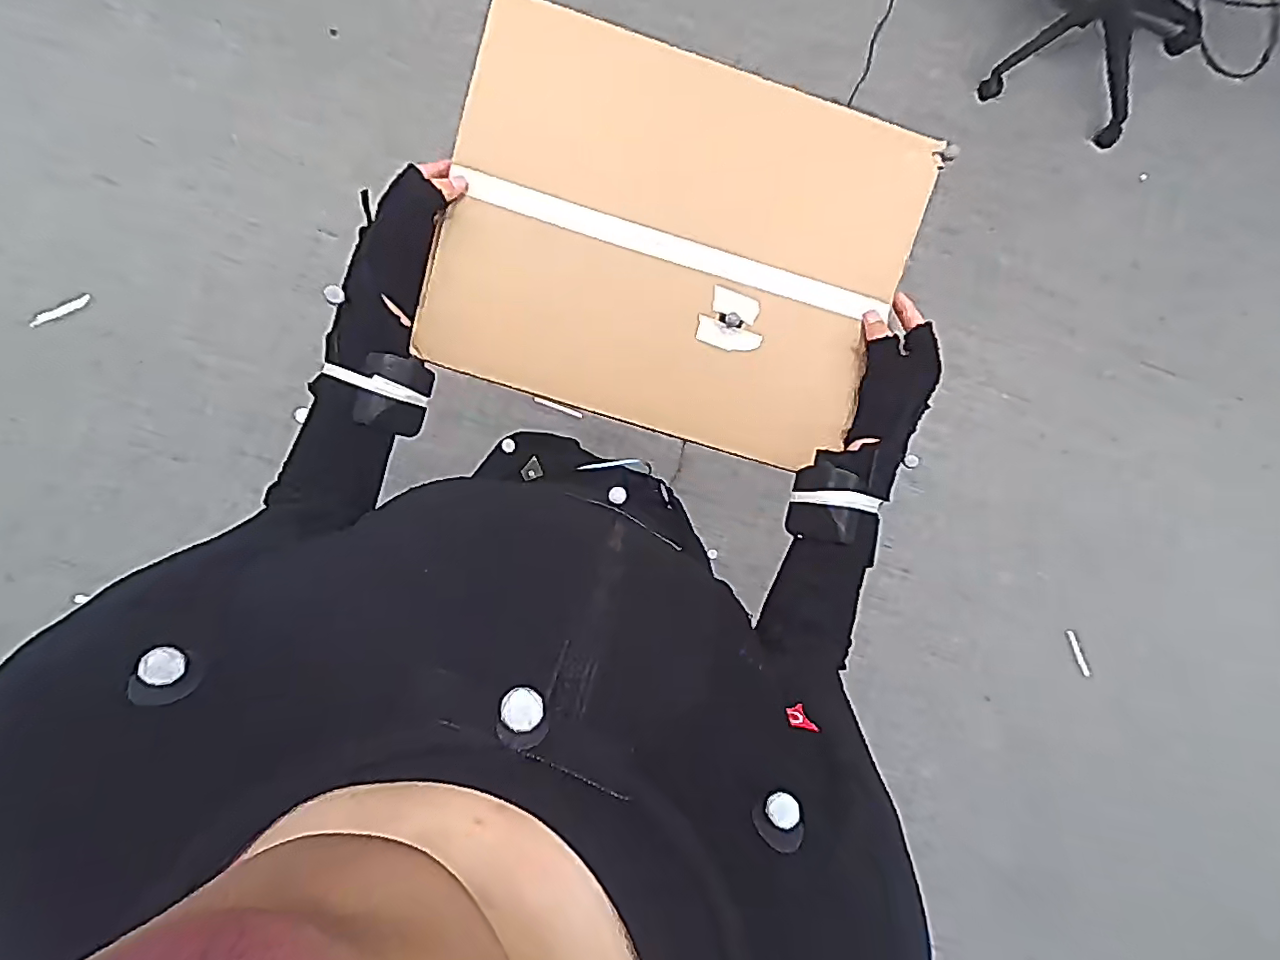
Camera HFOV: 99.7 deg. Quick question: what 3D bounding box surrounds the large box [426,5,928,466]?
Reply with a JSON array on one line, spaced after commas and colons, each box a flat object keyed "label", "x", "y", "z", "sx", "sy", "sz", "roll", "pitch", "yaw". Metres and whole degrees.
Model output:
[{"label": "large box", "x": 0.024, "y": -0.228, "z": 0.639, "sx": 0.408, "sy": 0.320, "sz": 0.320, "roll": 16, "pitch": 97, "yaw": -5}]
